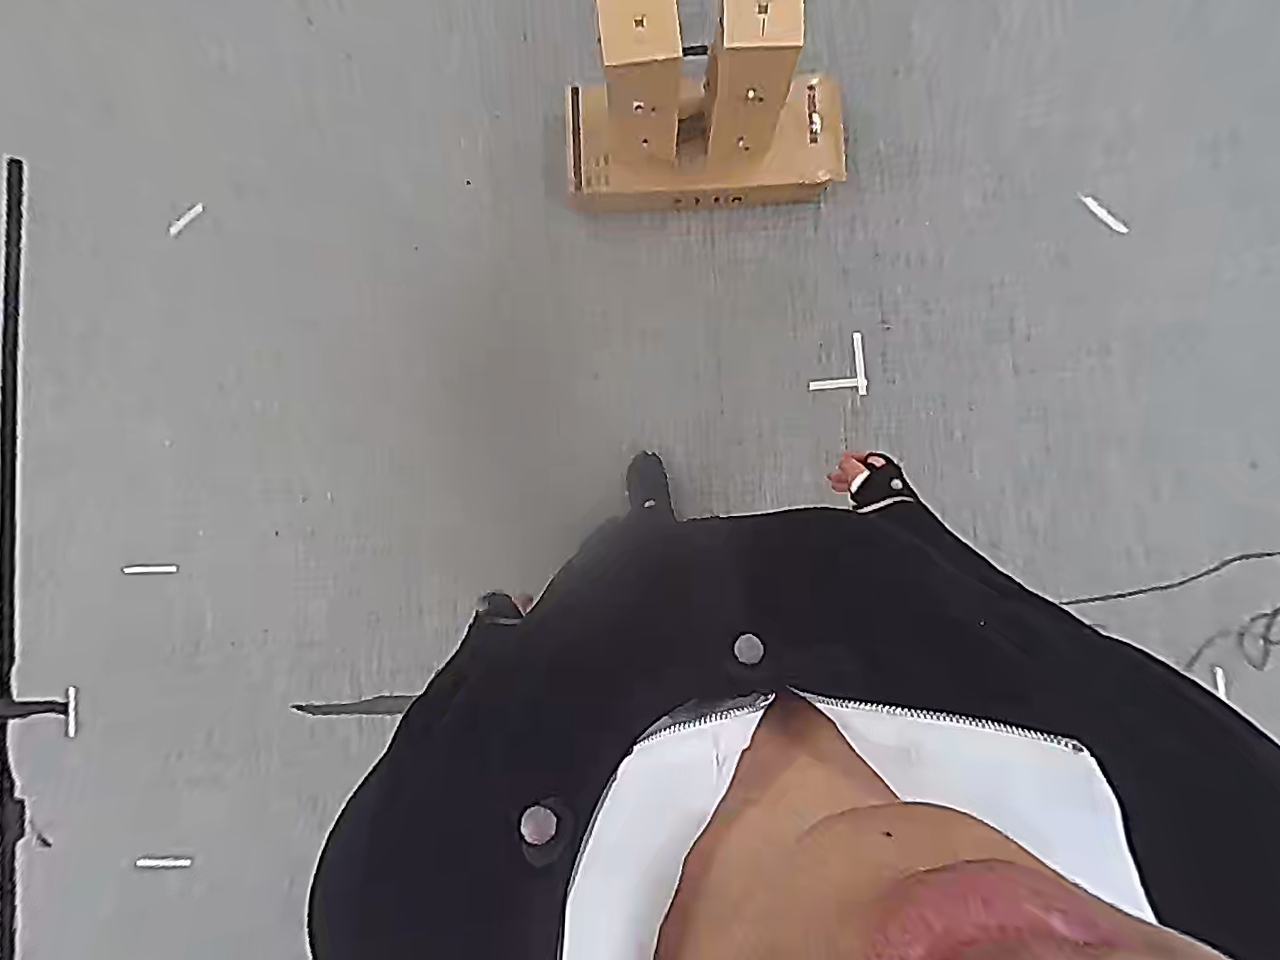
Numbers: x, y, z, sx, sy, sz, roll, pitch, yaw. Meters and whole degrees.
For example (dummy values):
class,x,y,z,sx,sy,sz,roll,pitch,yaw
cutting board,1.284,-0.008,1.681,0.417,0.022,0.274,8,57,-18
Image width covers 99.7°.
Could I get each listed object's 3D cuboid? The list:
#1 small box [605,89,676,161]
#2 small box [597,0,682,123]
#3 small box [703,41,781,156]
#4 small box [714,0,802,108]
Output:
class,x,y,z,sx,sy,sz,roll,pitch,yaw
small box,0.002,-0.933,1.359,0.168,0.176,0.179,-5,87,1
small box,-0.002,-0.939,1.196,0.168,0.176,0.179,-8,87,2
small box,0.249,-0.953,1.354,0.168,0.176,0.179,-3,87,2
small box,0.253,-0.964,1.190,0.168,0.176,0.179,0,87,2
